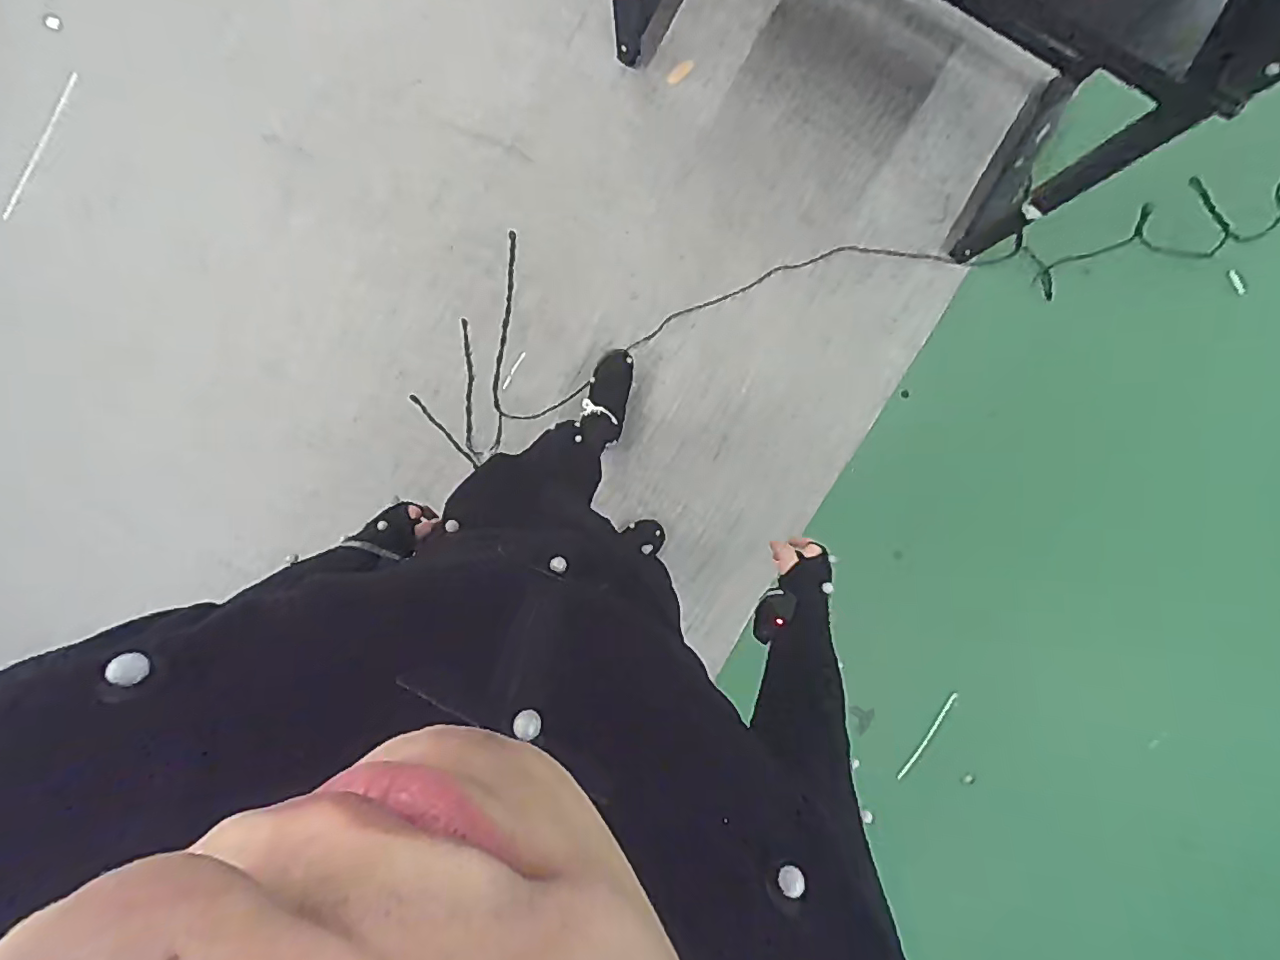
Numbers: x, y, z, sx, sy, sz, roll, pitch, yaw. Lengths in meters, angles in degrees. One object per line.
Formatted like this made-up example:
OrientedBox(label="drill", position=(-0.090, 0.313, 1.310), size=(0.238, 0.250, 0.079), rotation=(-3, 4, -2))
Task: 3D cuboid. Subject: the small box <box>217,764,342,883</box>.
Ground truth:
OrientedBox(label="small box", position=(-0.933, 0.884, 1.414), size=(0.179, 0.176, 0.168), rotation=(33, 93, -2))
